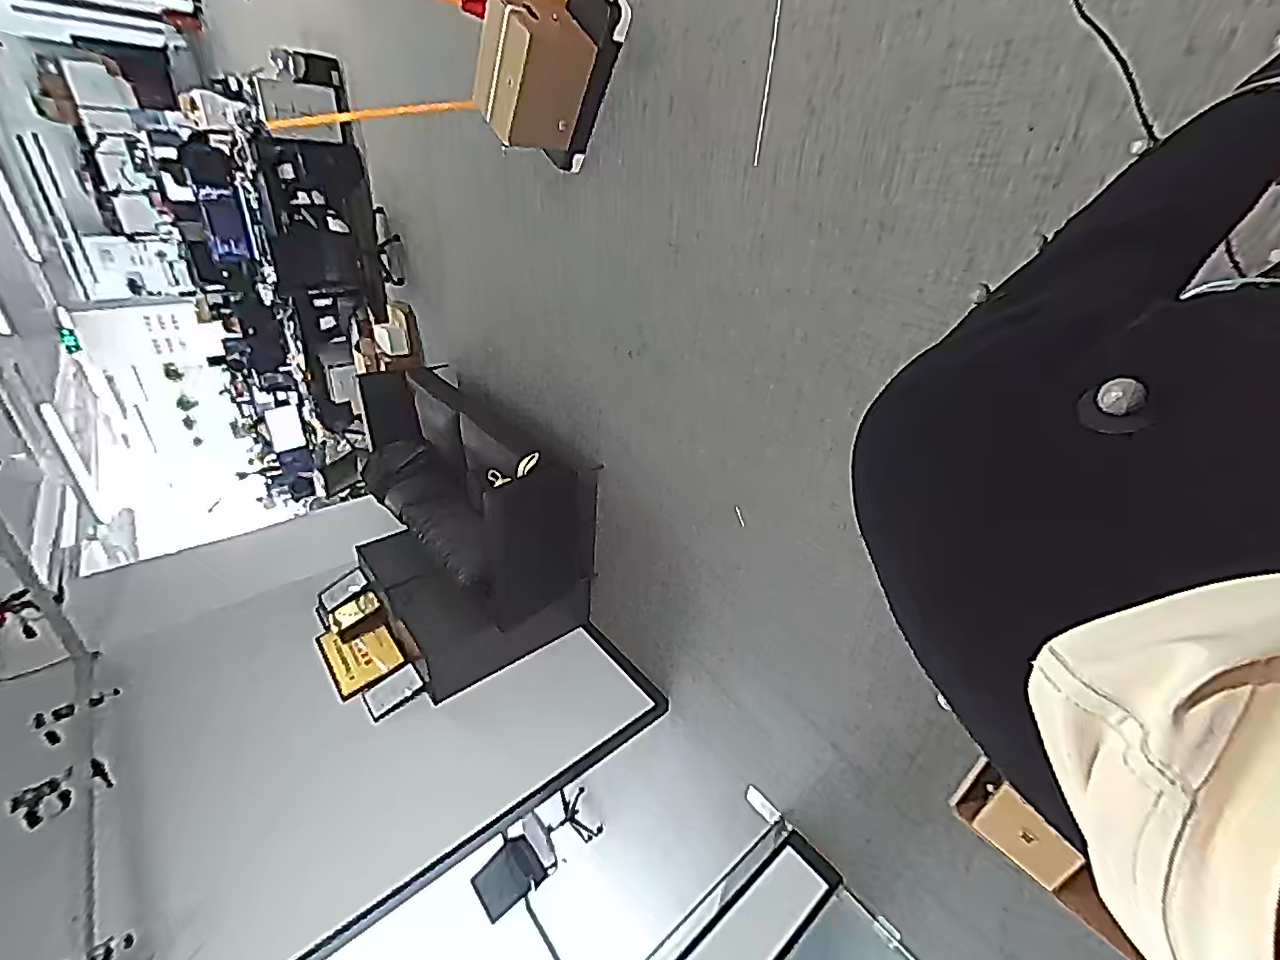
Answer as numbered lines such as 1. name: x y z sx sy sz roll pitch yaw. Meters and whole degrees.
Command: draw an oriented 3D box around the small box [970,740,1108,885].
1. small box: 0.870 0.717 1.180 0.168 0.176 0.179 36 132 38
